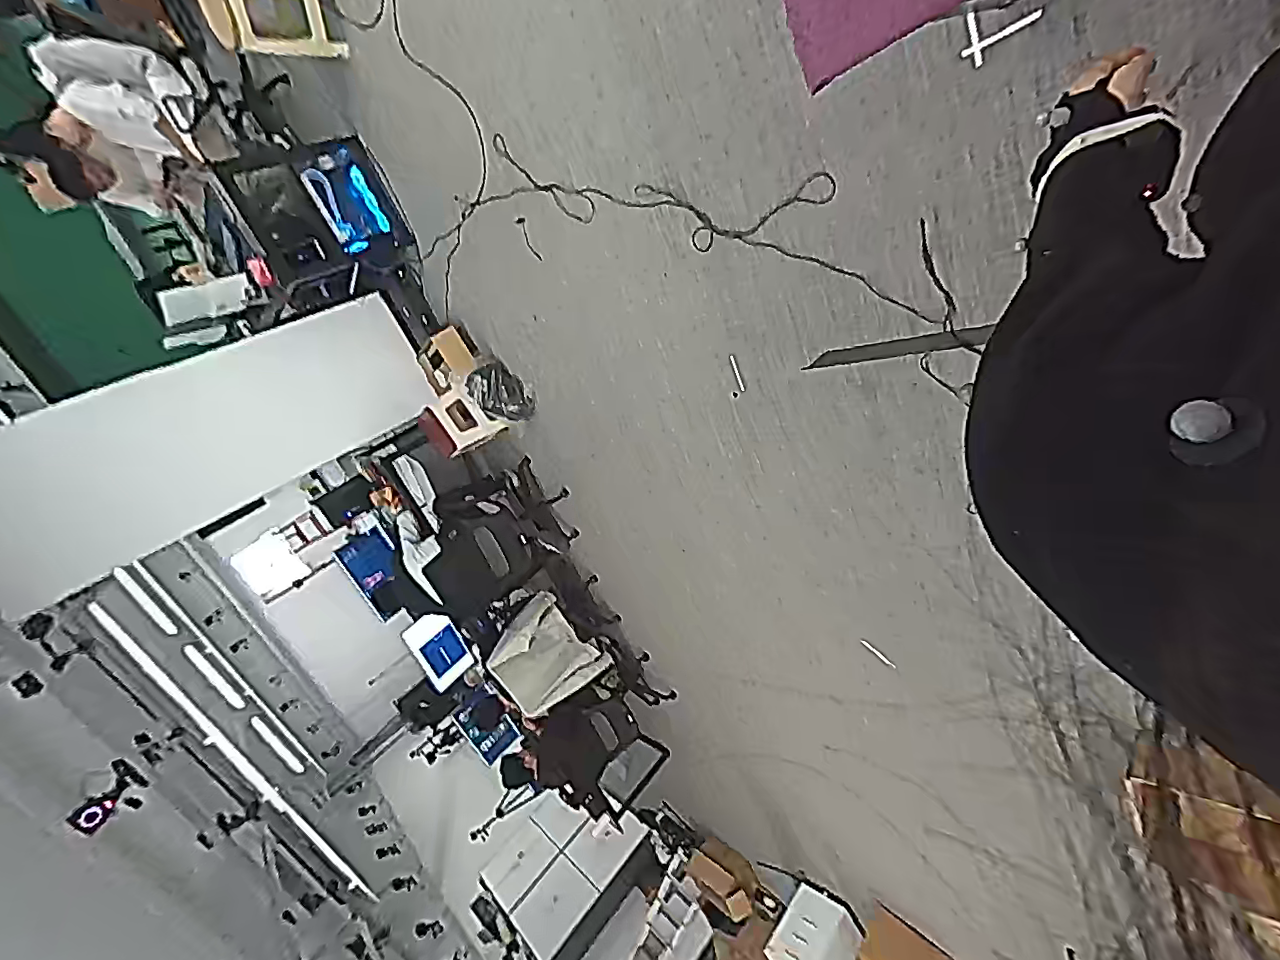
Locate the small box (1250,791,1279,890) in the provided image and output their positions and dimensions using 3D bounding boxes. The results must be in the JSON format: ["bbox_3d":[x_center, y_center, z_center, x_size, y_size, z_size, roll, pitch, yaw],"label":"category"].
[{"bbox_3d":[1.708,0.947,1.384,0.168,0.176,0.179,-12,112,54],"label":"small box"}]
